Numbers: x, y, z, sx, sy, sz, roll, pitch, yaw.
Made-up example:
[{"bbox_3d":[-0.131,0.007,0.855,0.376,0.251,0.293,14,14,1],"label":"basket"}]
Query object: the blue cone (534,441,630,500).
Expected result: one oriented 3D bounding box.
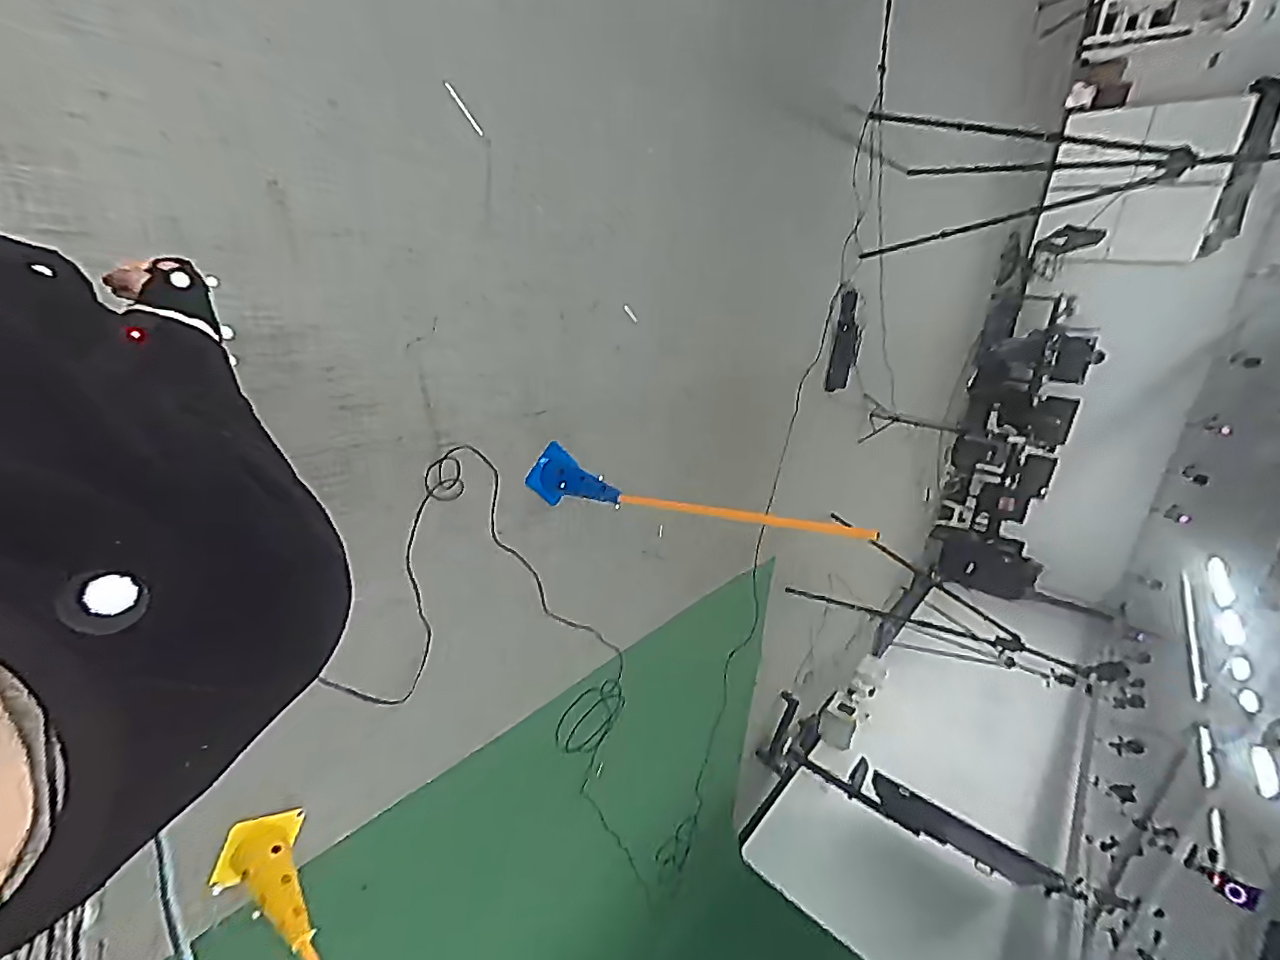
[{"bbox_3d":[-0.190,0.001,1.964,0.193,0.380,0.192,-61,141,-15],"label":"blue cone"}]
